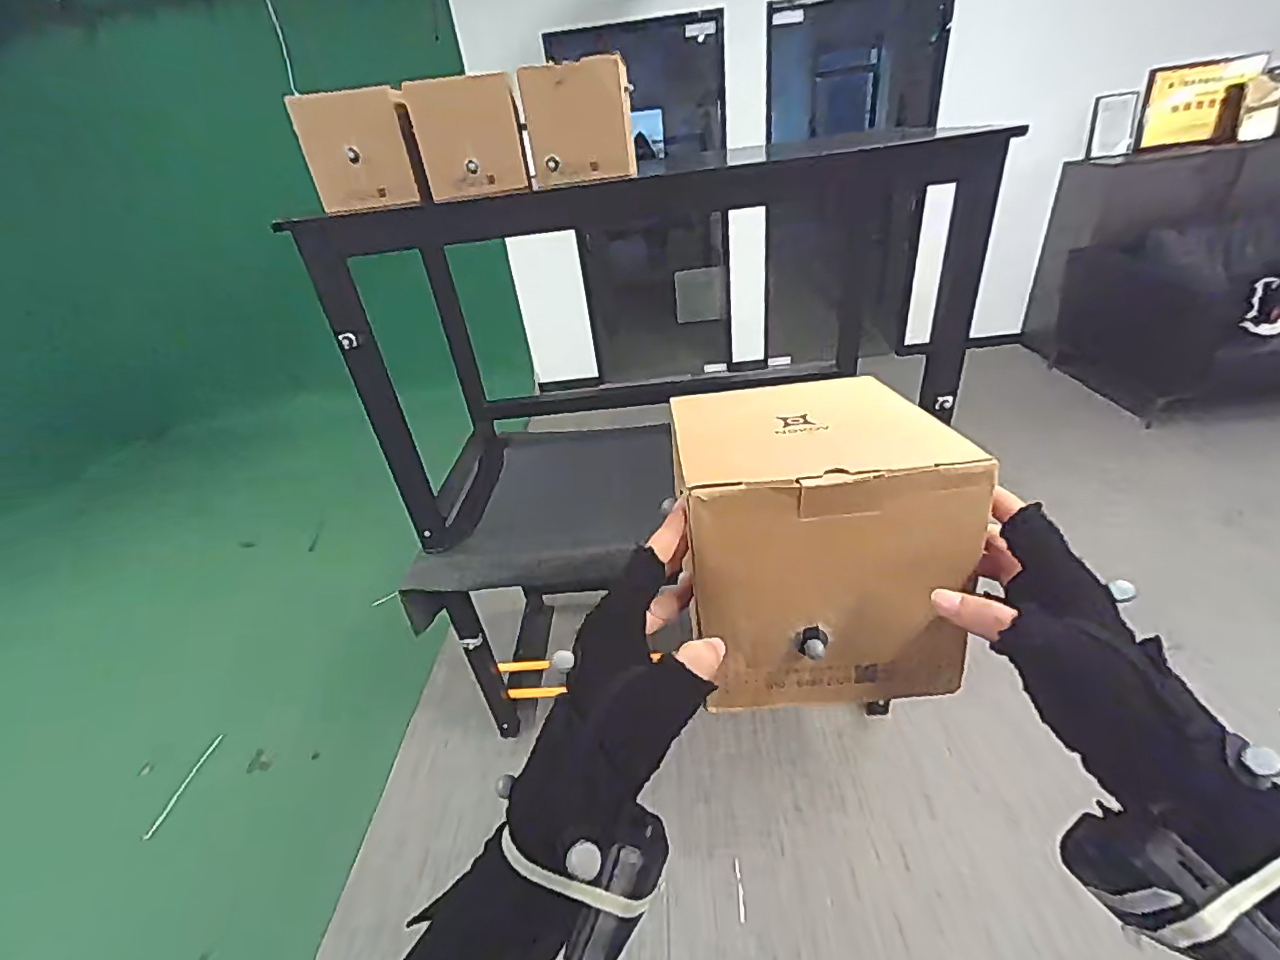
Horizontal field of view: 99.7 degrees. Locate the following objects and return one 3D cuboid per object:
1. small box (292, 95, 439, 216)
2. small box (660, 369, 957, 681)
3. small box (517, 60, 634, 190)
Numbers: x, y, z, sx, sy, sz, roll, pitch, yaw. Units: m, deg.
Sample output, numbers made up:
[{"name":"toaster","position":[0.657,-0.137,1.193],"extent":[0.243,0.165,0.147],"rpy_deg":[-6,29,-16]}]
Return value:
[{"name":"small box","position":[-0.484,-0.585,0.989],"extent":[0.168,0.176,0.179],"rpy_deg":[-8,31,-3]},{"name":"small box","position":[0.103,0.023,0.410],"extent":[0.168,0.176,0.179],"rpy_deg":[-6,24,3]},{"name":"small box","position":[-0.104,-0.625,0.970],"extent":[0.168,0.176,0.179],"rpy_deg":[-4,31,6]}]
